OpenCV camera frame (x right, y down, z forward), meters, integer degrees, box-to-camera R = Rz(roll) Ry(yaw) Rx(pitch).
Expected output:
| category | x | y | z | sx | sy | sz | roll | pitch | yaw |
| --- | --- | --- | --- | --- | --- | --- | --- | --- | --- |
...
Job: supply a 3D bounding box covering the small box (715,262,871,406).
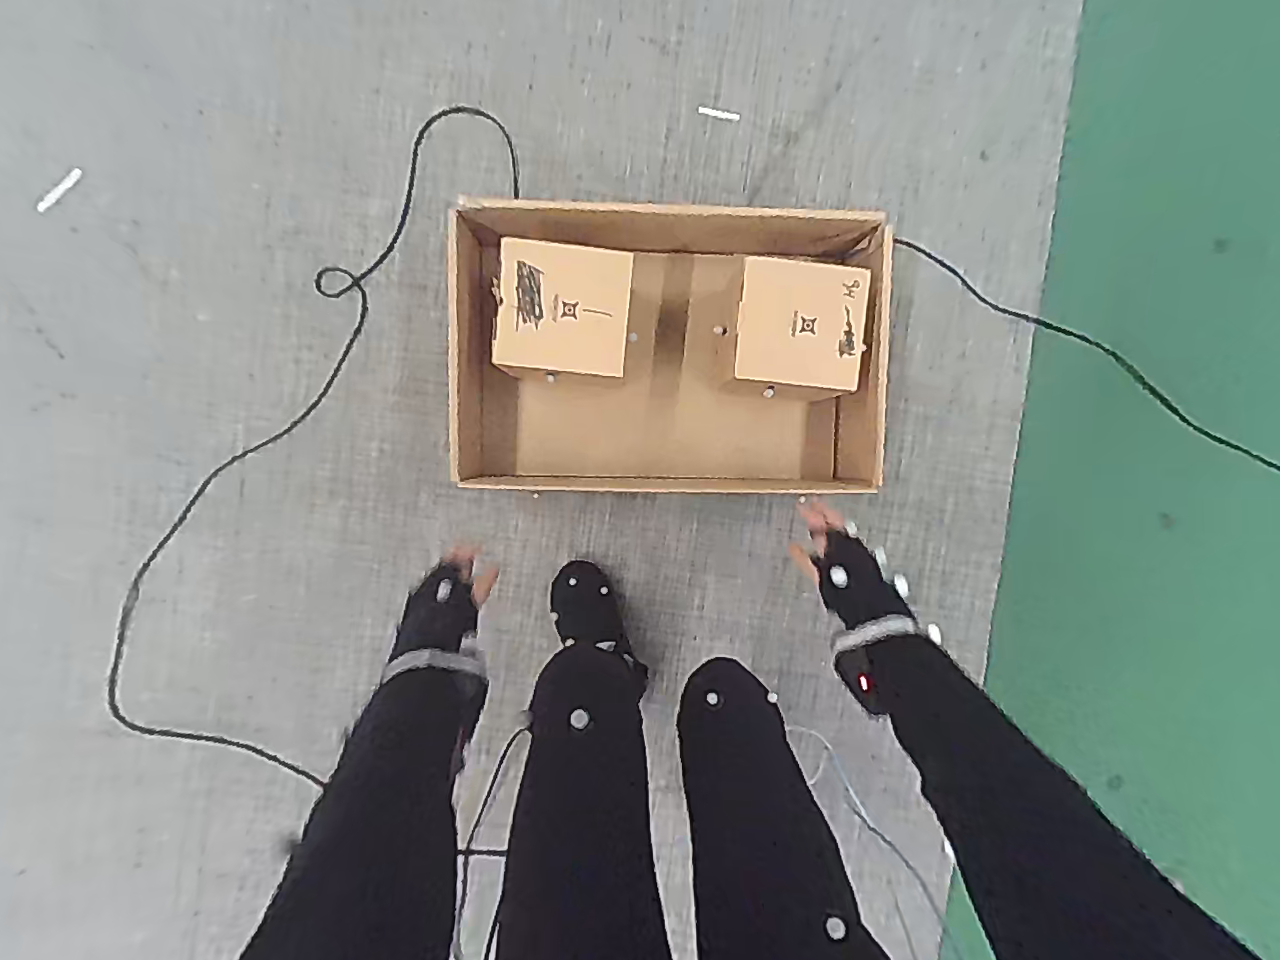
| category | x | y | z | sx | sy | sz | roll | pitch | yaw |
| --- | --- | --- | --- | --- | --- | --- | --- | --- | --- |
| small box | 0.216 | -0.207 | 0.812 | 0.179 | 0.176 | 0.168 | 6 | 93 | -2 |
